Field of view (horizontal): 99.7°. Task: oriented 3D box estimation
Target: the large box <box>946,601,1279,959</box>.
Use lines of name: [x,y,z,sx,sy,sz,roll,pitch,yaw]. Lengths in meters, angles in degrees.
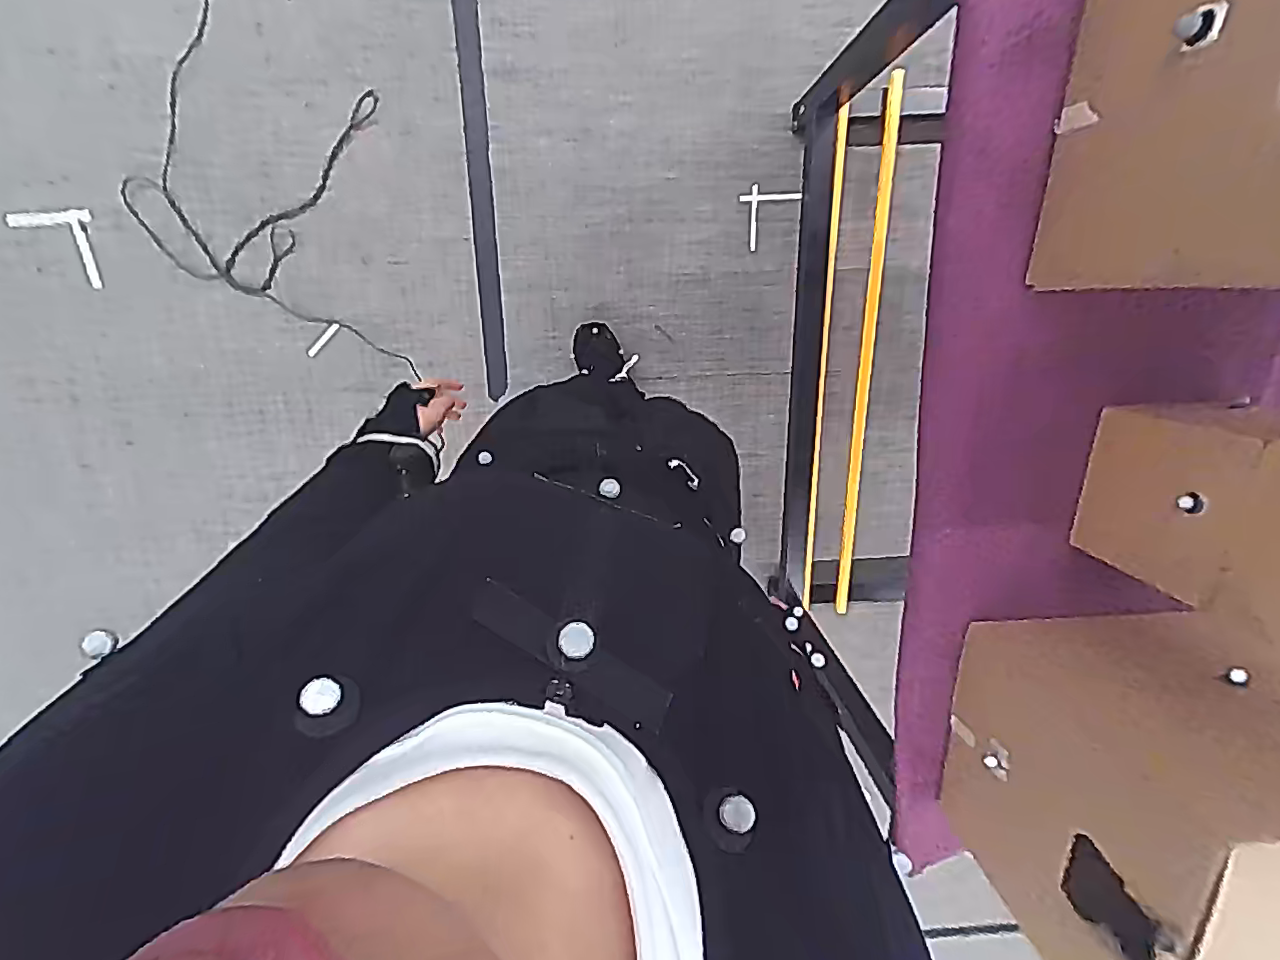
large box: [0.633,0.356,0.605,0.408,0.320,0.320,-3,108,-4]
